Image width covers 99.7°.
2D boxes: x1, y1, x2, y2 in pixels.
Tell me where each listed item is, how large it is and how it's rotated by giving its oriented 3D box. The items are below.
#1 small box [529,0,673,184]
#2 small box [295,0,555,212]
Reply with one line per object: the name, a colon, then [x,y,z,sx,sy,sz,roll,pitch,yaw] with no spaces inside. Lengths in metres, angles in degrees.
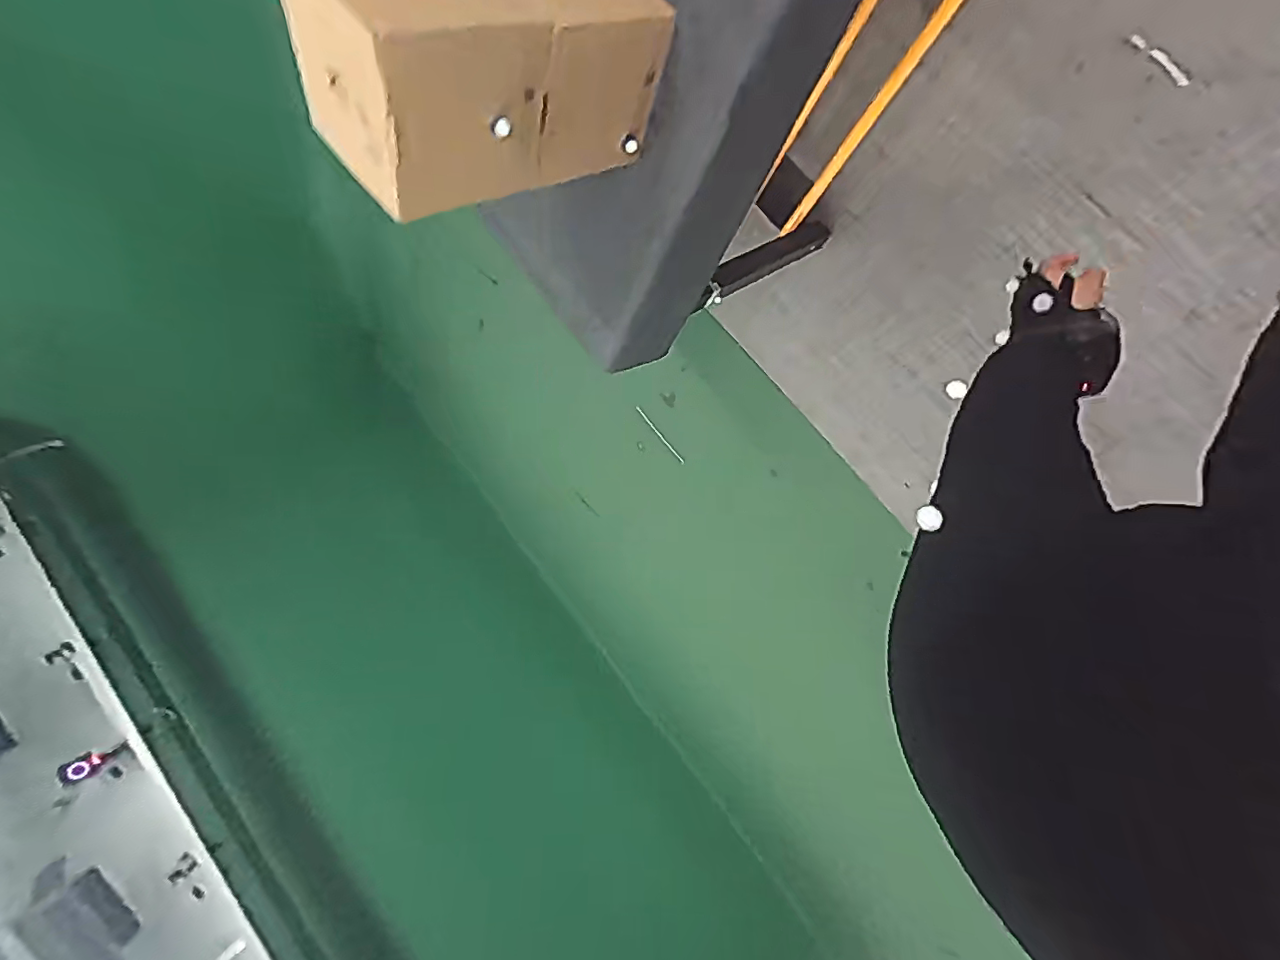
small box: [-0.090,-0.483,0.619,0.179,0.176,0.168,51,149,12]
small box: [-0.210,-0.406,0.536,0.179,0.176,0.168,49,150,13]
